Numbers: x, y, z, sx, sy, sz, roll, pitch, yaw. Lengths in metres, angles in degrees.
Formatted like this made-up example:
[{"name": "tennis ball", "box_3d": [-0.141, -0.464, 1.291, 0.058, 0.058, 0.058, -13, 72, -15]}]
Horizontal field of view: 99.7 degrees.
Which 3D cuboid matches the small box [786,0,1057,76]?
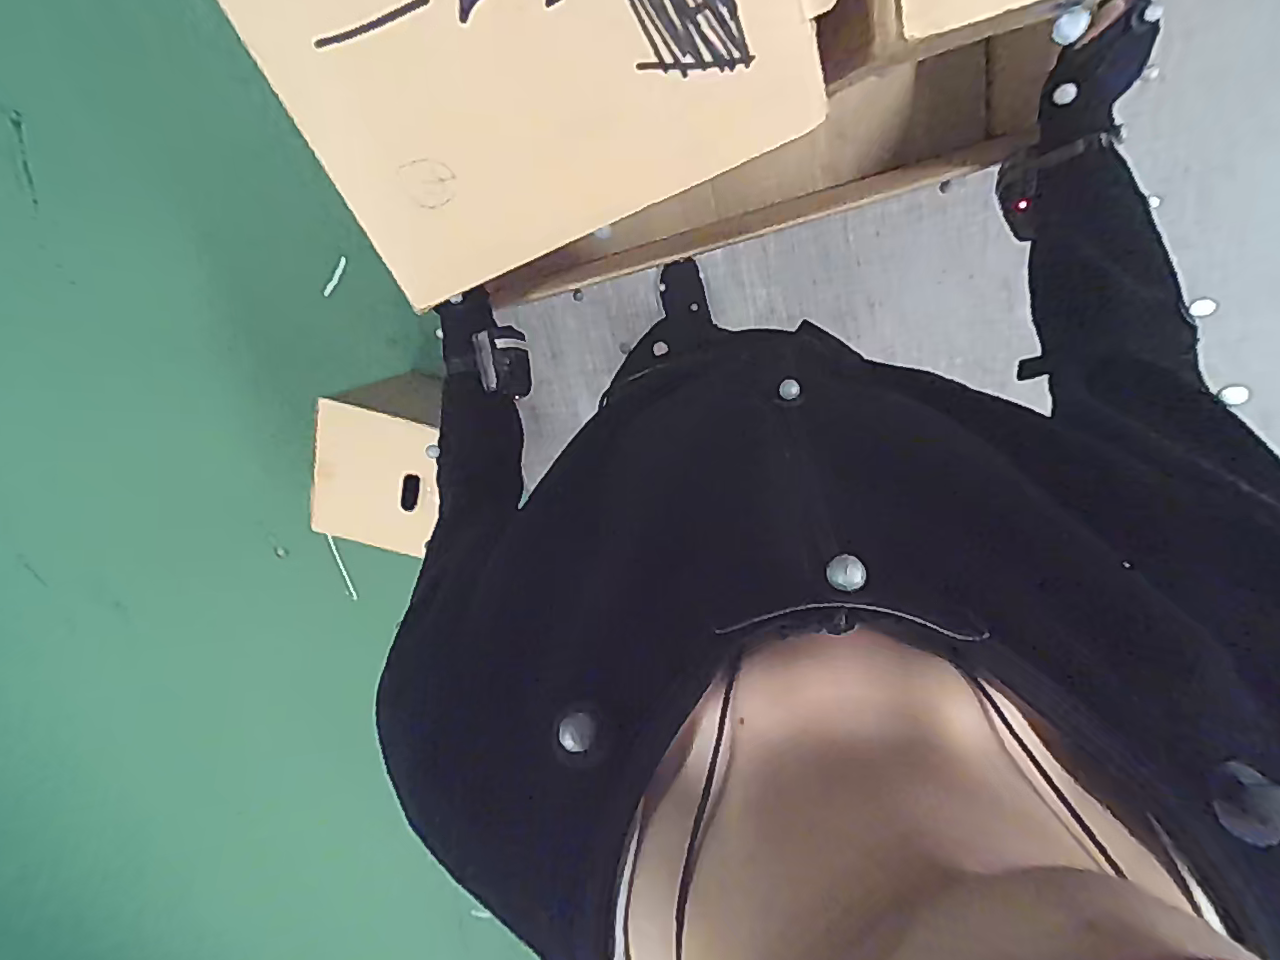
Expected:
[{"name": "small box", "box_3d": [0.149, -0.284, 0.203, 0.179, 0.176, 0.168, -13, 118, 9]}]
